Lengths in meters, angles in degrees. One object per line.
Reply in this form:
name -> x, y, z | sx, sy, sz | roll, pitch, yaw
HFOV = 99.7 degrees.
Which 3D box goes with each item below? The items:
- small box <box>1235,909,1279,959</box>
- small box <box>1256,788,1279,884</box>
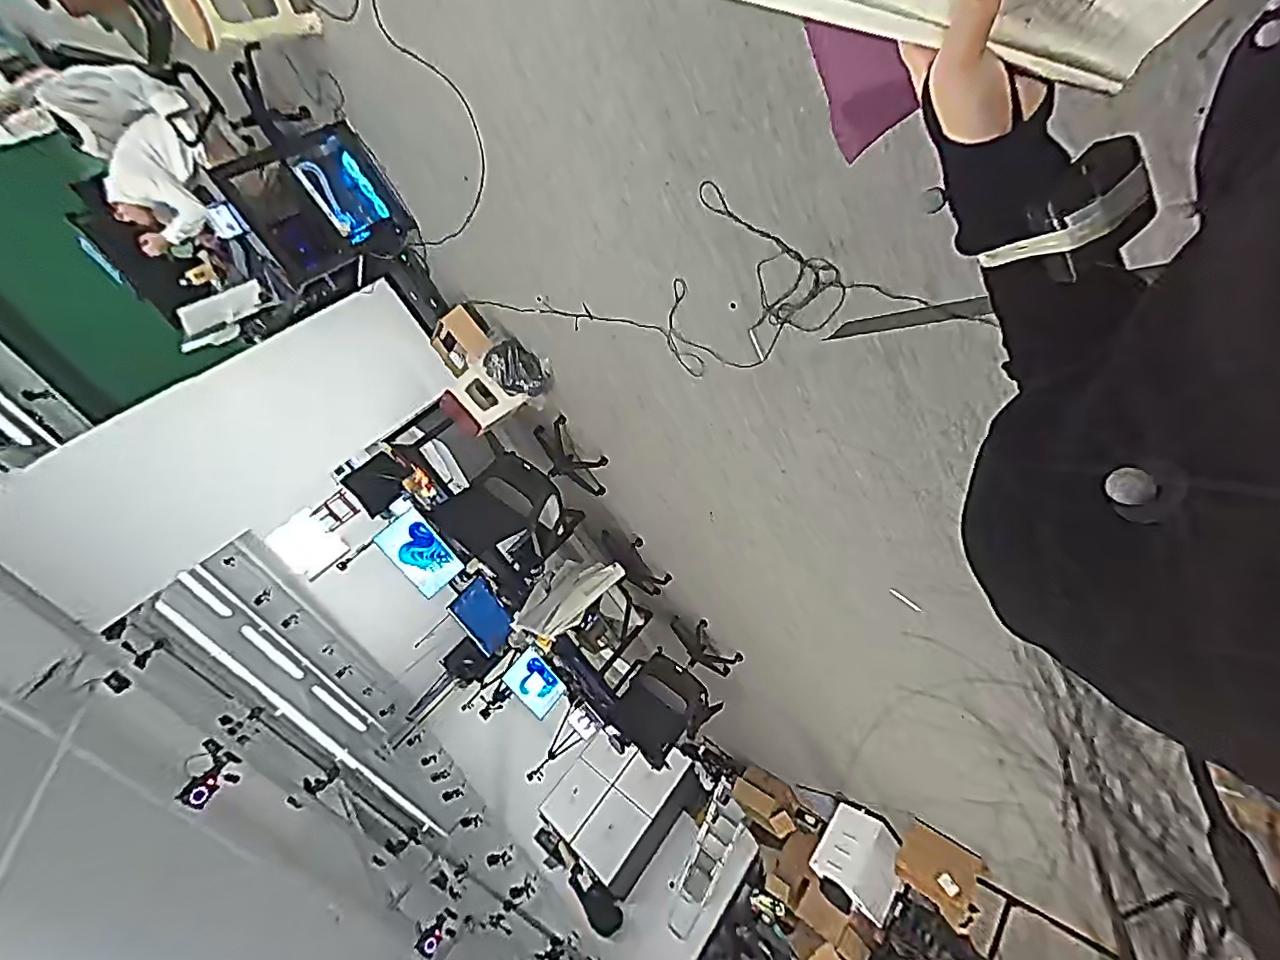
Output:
small box -> 1.460, 1.124, 1.208 | 0.168, 0.176, 0.179 | 4, 132, 52
small box -> 1.673, 0.915, 1.348 | 0.168, 0.176, 0.179 | 2, 132, 54
